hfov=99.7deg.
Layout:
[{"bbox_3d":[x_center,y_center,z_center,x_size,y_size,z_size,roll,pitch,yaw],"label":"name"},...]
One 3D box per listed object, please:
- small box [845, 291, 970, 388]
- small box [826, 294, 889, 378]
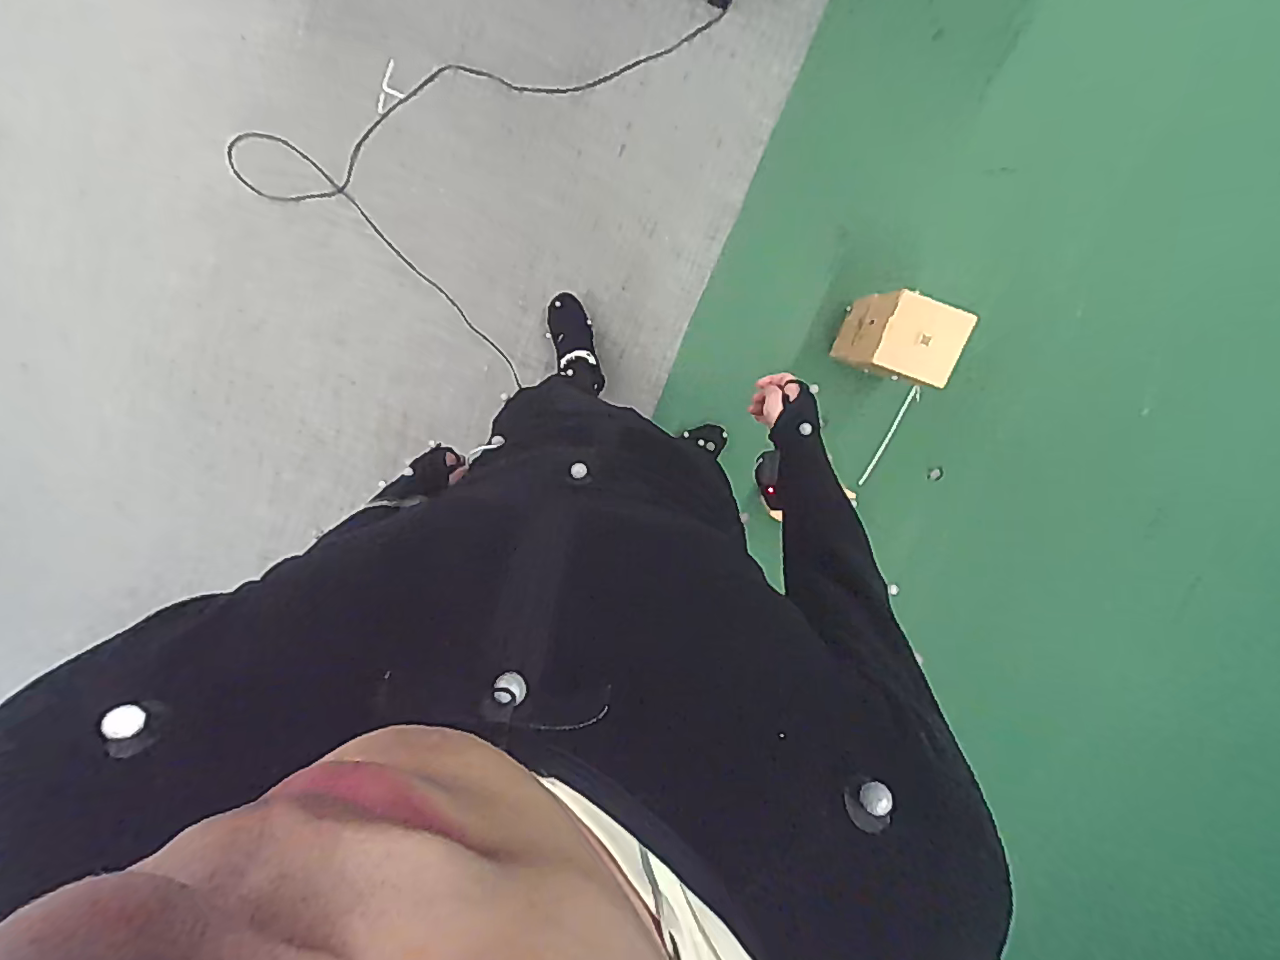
[{"bbox_3d":[0.615,-0.328,1.266,0.179,0.176,0.168,20,104,-1],"label":"small box"},{"bbox_3d":[0.619,-0.371,1.423,0.179,0.176,0.168,21,104,-2],"label":"small box"}]
